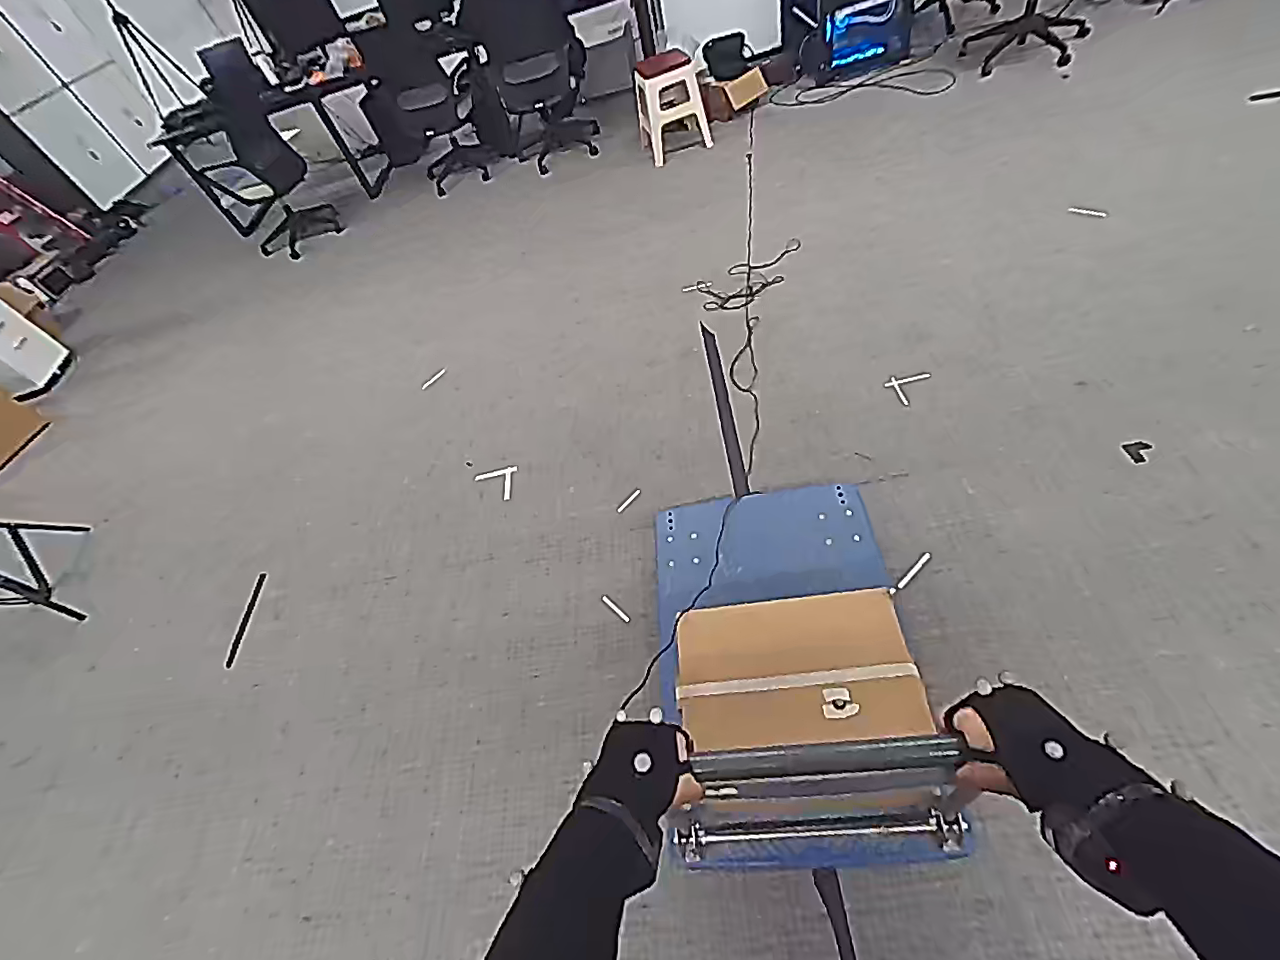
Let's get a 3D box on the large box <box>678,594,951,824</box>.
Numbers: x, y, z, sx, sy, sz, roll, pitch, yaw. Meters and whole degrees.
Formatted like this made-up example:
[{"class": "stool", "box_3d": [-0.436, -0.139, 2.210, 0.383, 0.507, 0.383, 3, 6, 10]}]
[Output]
[{"class": "large box", "box_3d": [0.302, 0.452, 1.042, 0.408, 0.320, 0.320, -9, 51, 9]}]
